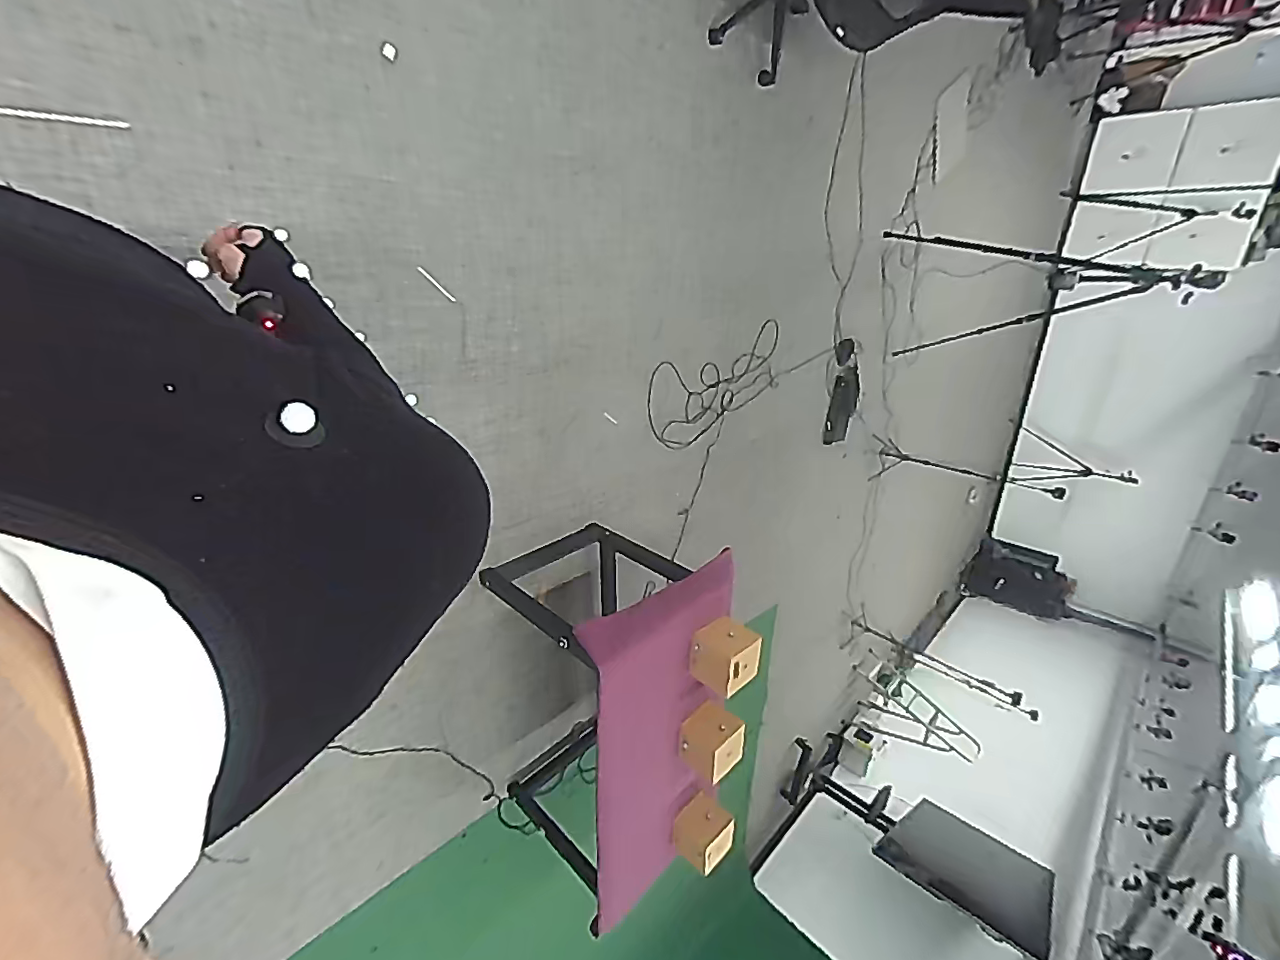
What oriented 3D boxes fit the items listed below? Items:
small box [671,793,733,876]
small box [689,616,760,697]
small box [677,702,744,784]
[{"bbox_3d":[0.243,1.387,2.130,0.179,0.176,0.168,-21,120,-41],"label":"small box"},{"bbox_3d":[0.285,0.597,1.847,0.179,0.176,0.168,-17,118,-42],"label":"small box"},{"bbox_3d":[0.254,0.945,1.963,0.179,0.176,0.168,-19,118,-41],"label":"small box"}]
